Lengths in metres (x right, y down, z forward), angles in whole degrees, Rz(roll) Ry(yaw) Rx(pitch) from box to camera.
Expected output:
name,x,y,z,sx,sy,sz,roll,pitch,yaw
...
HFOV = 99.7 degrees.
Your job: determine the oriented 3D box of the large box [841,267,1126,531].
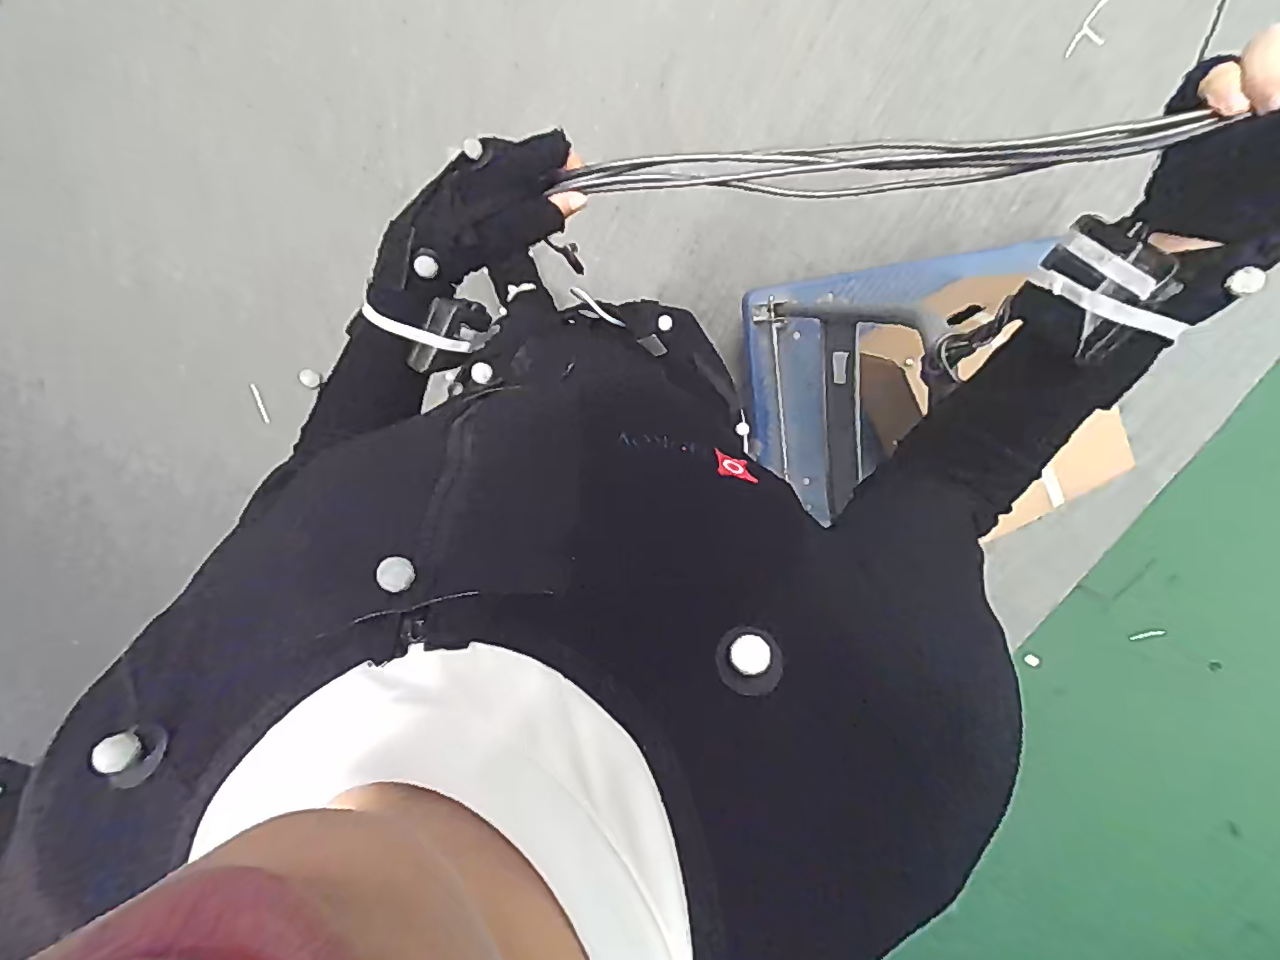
name,x,y,z,sx,sy,sz,roll,pitch,yaw
large box,0.687,-0.176,1.131,0.320,0.320,0.408,-30,106,8
